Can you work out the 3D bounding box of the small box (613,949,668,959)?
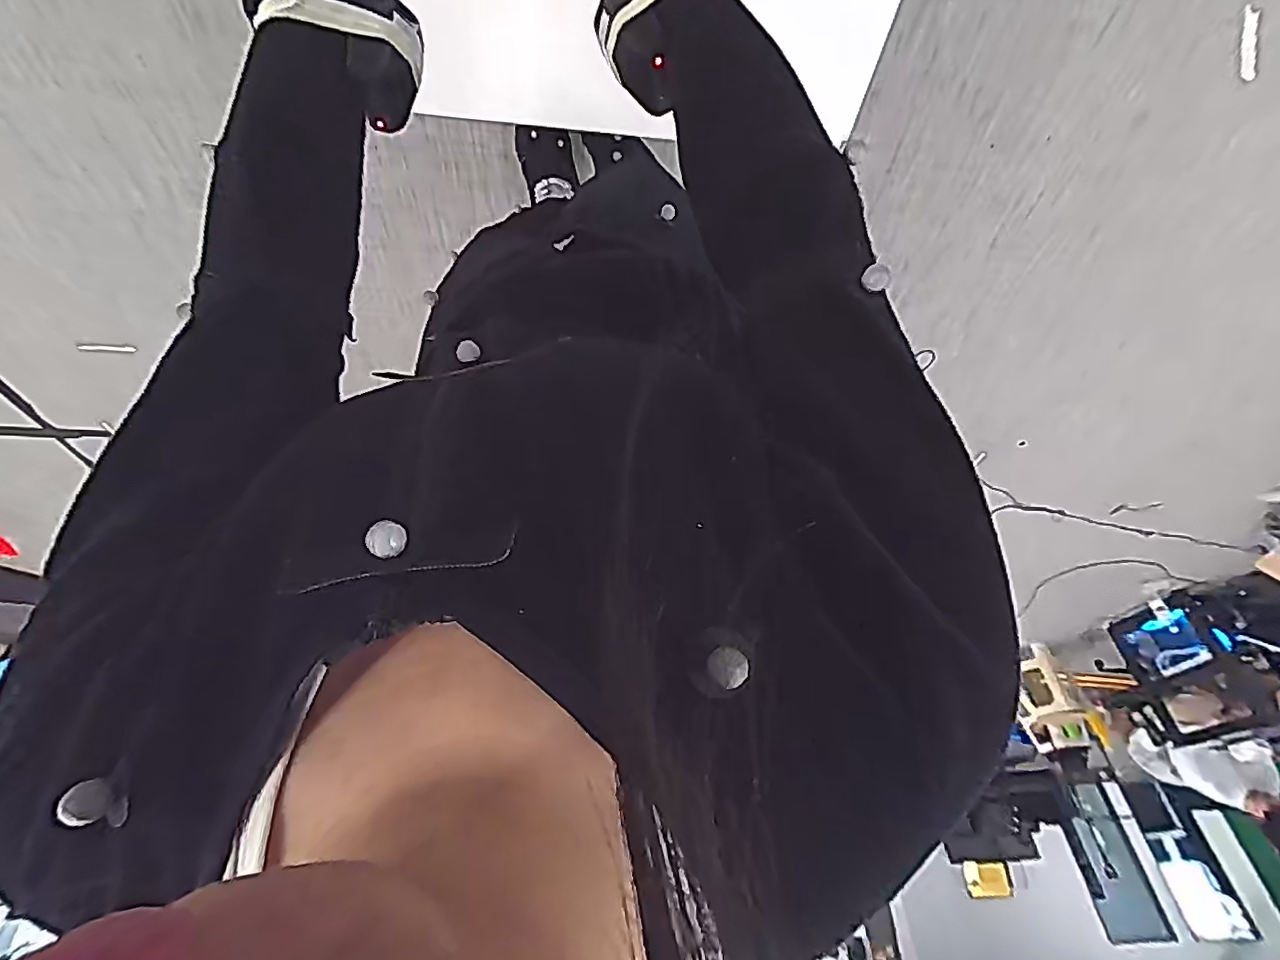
[{"bbox_3d":[0.002,1.608,1.707,0.168,0.176,0.179,3,144,-7],"label":"small box"}]
